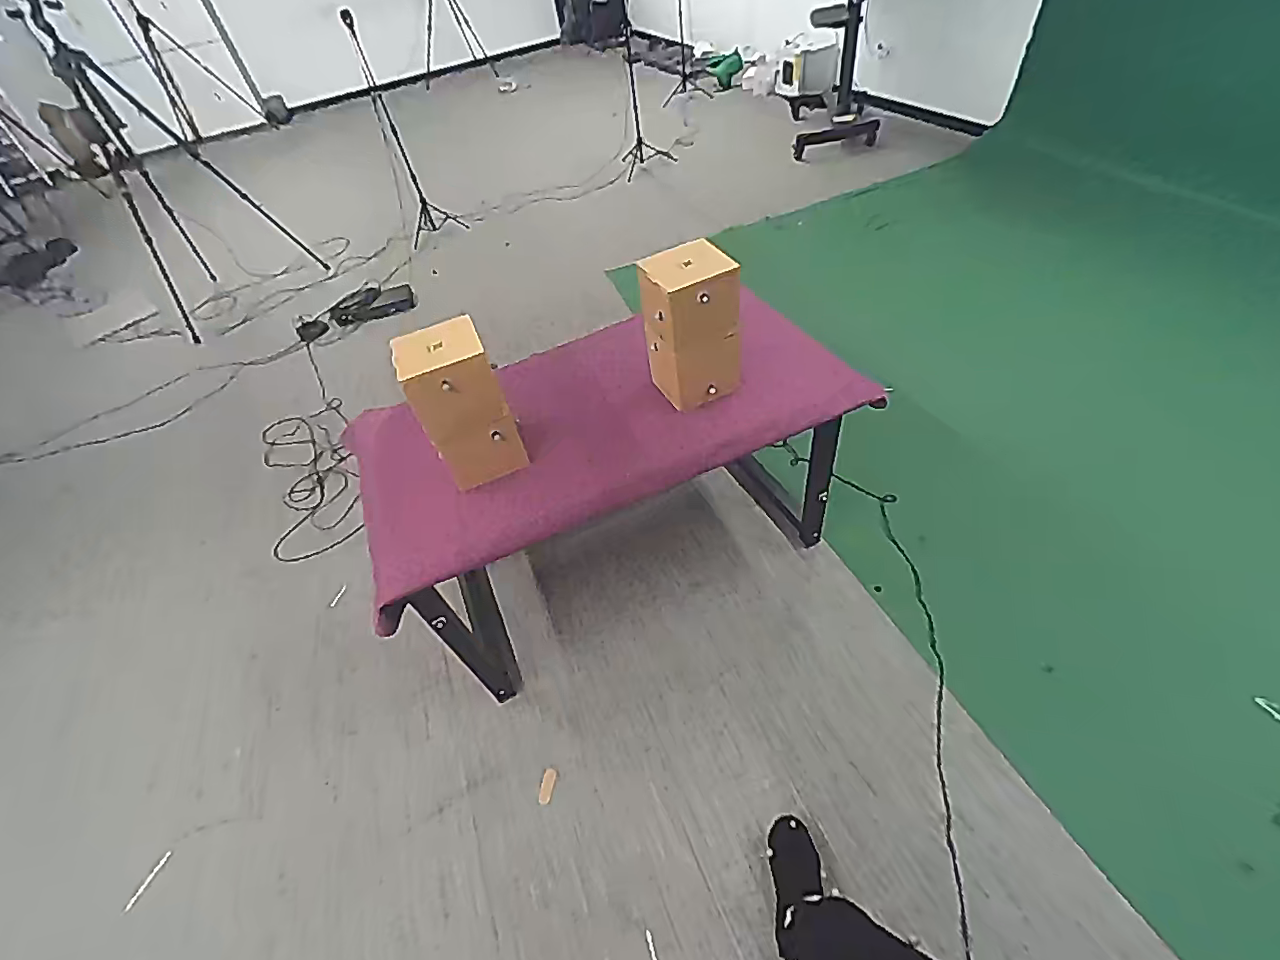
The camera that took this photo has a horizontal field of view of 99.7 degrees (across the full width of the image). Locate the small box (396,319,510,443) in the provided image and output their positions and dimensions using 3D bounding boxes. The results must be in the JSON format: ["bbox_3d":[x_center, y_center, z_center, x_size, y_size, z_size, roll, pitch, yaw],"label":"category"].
[{"bbox_3d":[-0.393,-0.210,1.160,0.179,0.176,0.168,-24,49,-9],"label":"small box"}]

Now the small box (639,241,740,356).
[{"bbox_3d":[0.118,-0.411,1.235,0.179,0.176,0.168,-23,49,-9],"label":"small box"}]

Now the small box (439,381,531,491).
[{"bbox_3d":[-0.371,-0.105,1.282,0.179,0.176,0.168,-23,48,-10],"label":"small box"}]

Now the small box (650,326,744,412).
[{"bbox_3d":[0.142,-0.302,1.355,0.179,0.176,0.168,-24,48,-10],"label":"small box"}]
